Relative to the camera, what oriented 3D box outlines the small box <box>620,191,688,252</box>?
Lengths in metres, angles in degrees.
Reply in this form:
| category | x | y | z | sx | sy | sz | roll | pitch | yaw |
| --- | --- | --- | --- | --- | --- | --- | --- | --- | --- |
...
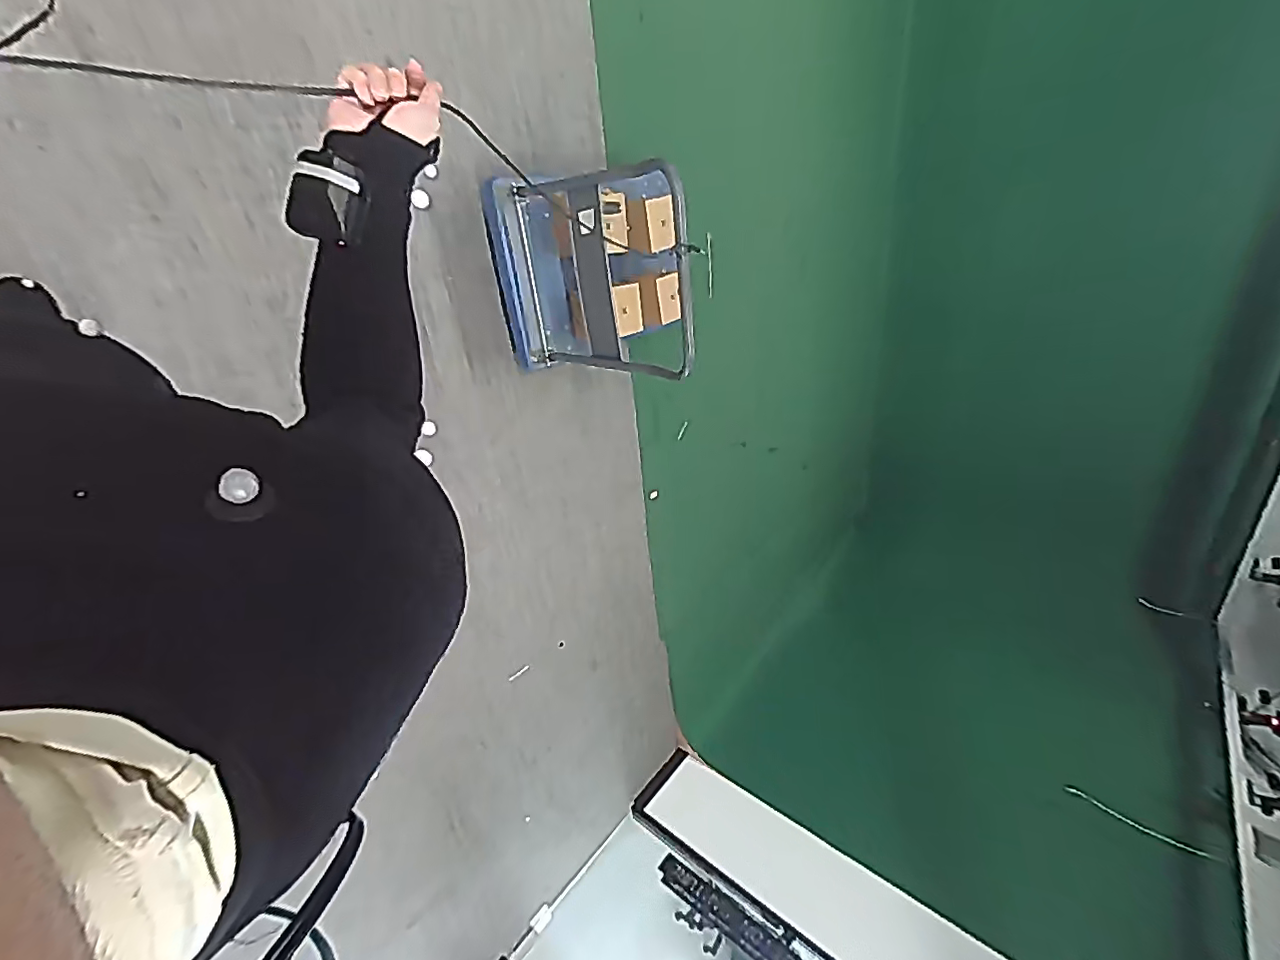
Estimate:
| category | x | y | z | sx | sy | sz | roll | pitch | yaw |
| --- | --- | --- | --- | --- | --- | --- | --- | --- | --- |
| small box | 0.044 | -0.914 | 1.915 | 0.179 | 0.176 | 0.168 | -35 | 127 | -37 |

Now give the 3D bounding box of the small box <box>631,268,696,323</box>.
| category | x | y | z | sx | sy | sz | roll | pitch | yaw |
| --- | --- | --- | --- | --- | --- | --- | --- | --- | --- |
| small box | 0.086 | -0.696 | 2.034 | 0.179 | 0.176 | 0.168 | -34 | 125 | -36 |

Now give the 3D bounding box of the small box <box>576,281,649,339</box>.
| category | x | y | z | sx | sy | sz | roll | pitch | yaw |
| --- | --- | --- | --- | --- | --- | --- | --- | --- | --- |
| small box | -0.094 | -0.590 | 1.863 | 0.179 | 0.176 | 0.168 | -29 | 123 | -39 |
